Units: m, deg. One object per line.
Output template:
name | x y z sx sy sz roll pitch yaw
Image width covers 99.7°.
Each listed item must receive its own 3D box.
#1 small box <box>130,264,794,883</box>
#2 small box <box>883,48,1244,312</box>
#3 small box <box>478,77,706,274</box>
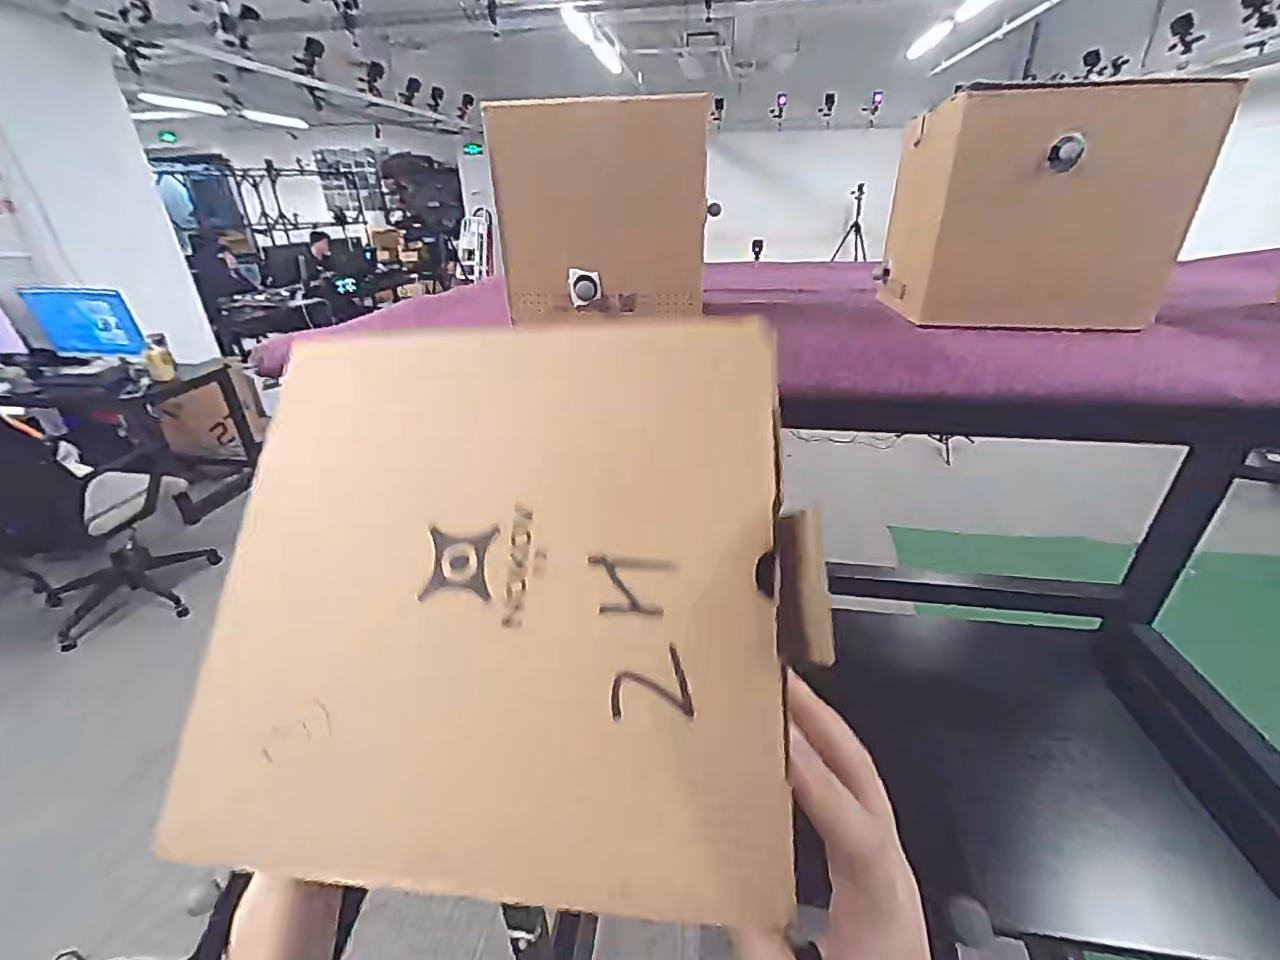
small box | -0.036 0.035 0.230 0.179 0.176 0.168 0 73 8
small box | 0.324 -0.243 0.468 0.179 0.176 0.168 4 27 9
small box | -0.026 -0.243 0.487 0.168 0.176 0.179 0 29 6
